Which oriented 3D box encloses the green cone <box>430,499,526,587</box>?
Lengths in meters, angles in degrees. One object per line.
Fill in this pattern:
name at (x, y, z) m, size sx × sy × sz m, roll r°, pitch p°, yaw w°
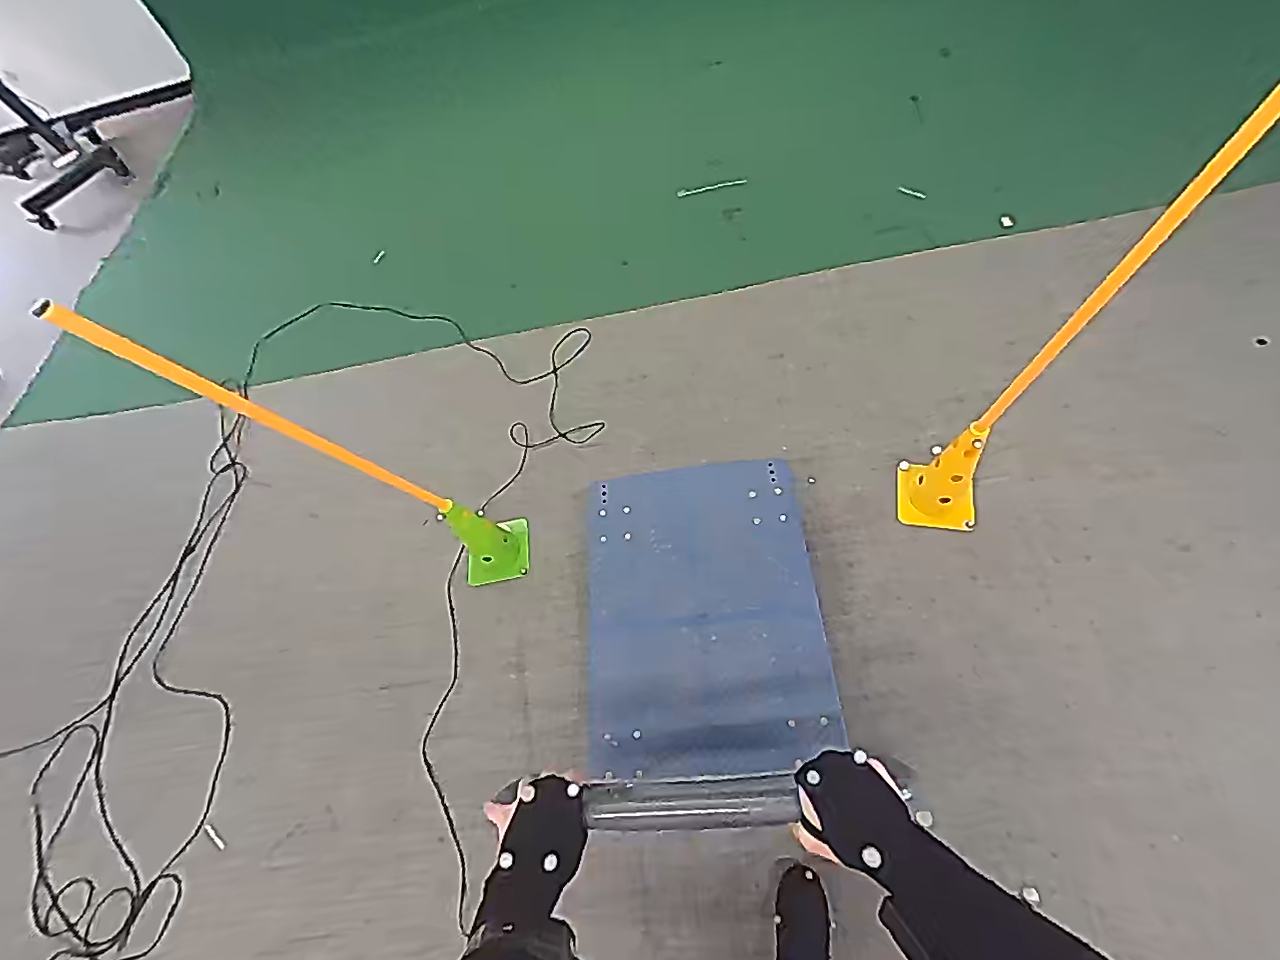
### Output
green cone at (-0.493, 0.147, 1.570) m, size 0.202 × 0.368 × 0.200 m, roll -13°, pitch 59°, yaw 6°
